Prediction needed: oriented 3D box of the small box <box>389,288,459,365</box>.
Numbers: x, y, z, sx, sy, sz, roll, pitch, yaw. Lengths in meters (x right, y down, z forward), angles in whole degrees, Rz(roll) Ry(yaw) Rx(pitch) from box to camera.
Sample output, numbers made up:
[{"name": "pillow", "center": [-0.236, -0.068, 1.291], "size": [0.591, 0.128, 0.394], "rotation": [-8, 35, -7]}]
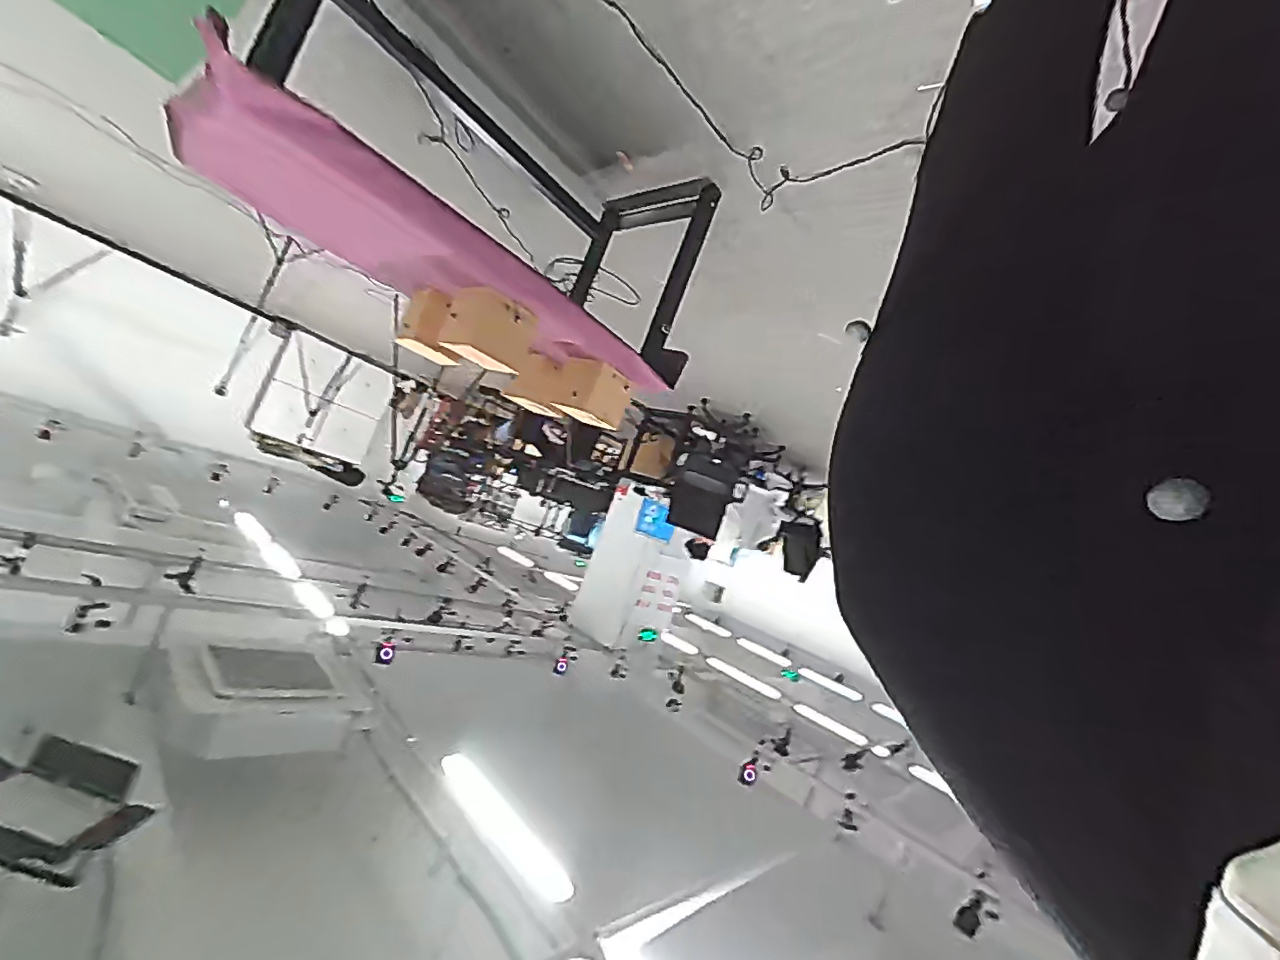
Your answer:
[{"name": "small box", "center": [-0.637, -0.471, 1.667], "size": [0.179, 0.176, 0.168], "rotation": [13, 171, 46]}]

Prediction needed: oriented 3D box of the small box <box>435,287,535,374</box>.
[{"name": "small box", "center": [-0.413, -0.406, 1.459], "size": [0.179, 0.176, 0.168], "rotation": [17, 175, 41]}]

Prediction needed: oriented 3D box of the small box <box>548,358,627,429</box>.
[{"name": "small box", "center": [-0.161, -0.281, 1.743], "size": [0.179, 0.176, 0.168], "rotation": [18, 174, 40]}]
